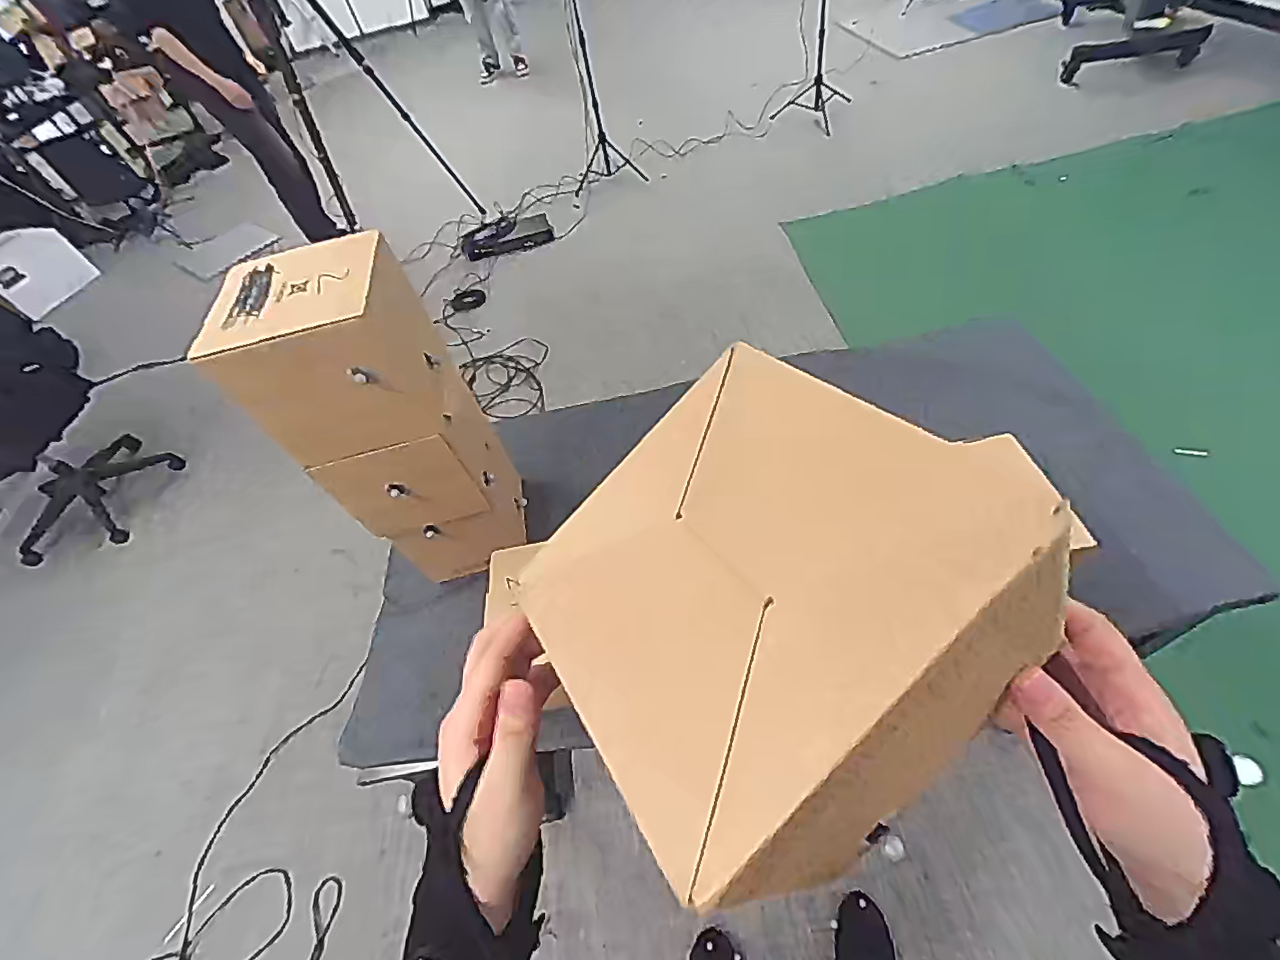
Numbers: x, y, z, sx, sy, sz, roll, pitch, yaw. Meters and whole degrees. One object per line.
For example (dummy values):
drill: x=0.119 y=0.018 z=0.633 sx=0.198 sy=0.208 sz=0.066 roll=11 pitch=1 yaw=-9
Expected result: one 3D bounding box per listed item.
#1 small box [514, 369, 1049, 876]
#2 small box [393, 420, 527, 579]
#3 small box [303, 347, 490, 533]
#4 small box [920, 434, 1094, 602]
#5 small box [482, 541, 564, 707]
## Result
small box: x=0.071 y=0.067 z=0.278 sx=0.179 sy=0.176 sz=0.168 roll=-47 pitch=46 yaw=3
small box: x=-0.293 y=0.035 z=0.890 sx=0.168 sy=0.176 sz=0.179 roll=-15 pitch=52 yaw=1
small box: x=-0.318 y=-0.050 z=0.750 sx=0.179 sy=0.176 sz=0.168 roll=-15 pitch=53 yaw=2
small box: x=0.416 y=0.071 z=0.702 sx=0.168 sy=0.176 sz=0.179 roll=-12 pitch=51 yaw=4
small box: x=-0.091 y=0.190 z=0.724 sx=0.179 sy=0.176 sz=0.168 roll=-11 pitch=52 yaw=5
